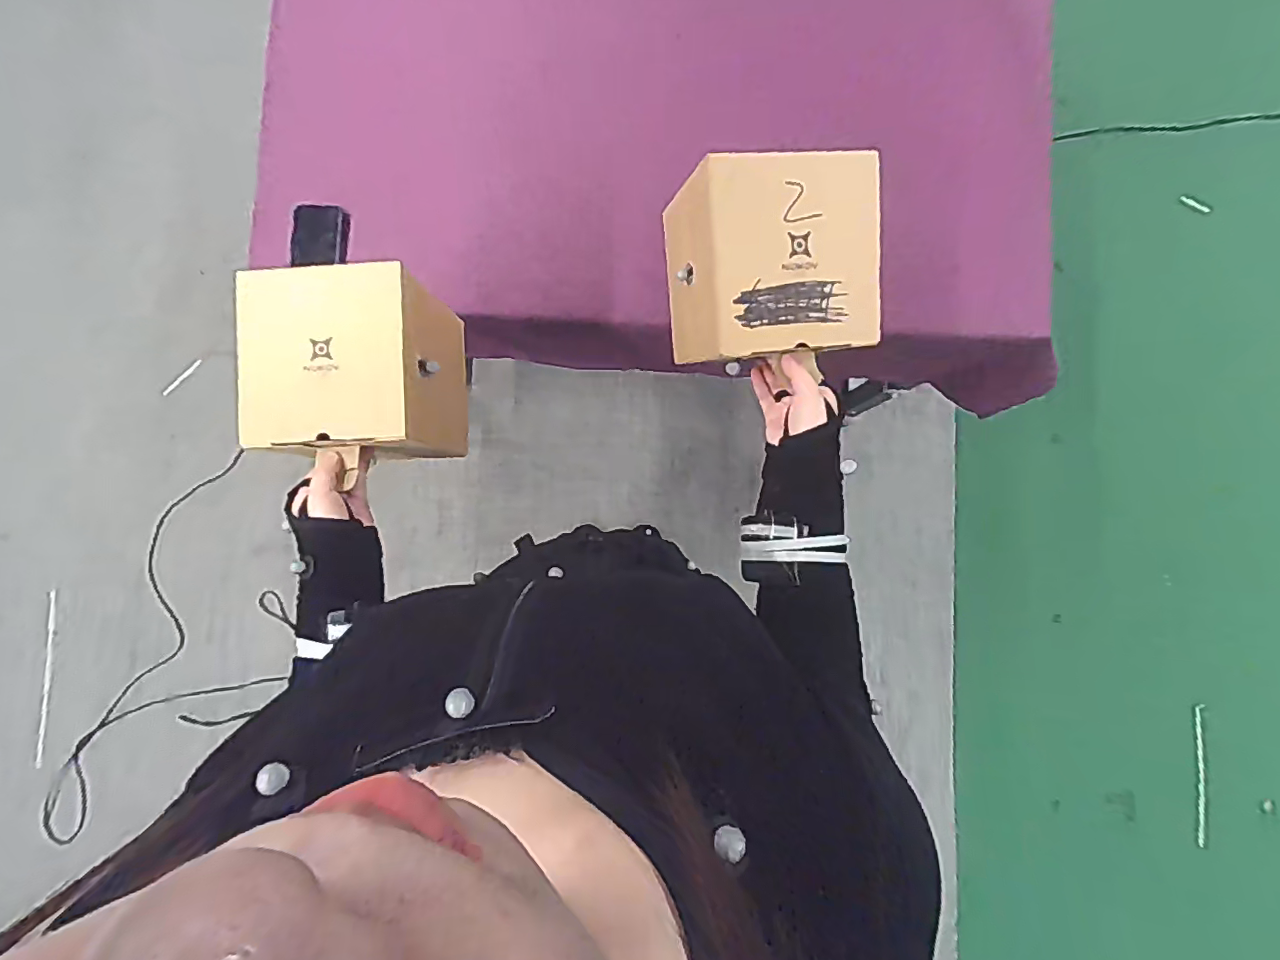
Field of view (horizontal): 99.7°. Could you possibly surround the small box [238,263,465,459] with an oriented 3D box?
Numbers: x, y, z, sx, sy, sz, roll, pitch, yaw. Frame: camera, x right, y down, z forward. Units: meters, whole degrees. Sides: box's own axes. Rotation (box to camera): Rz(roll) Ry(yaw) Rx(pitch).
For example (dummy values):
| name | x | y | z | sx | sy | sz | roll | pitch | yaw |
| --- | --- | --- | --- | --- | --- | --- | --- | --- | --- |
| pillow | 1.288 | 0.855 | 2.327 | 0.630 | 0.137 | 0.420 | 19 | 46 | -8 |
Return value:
| name | x | y | z | sx | sy | sz | roll | pitch | yaw |
| --- | --- | --- | --- | --- | --- | --- | --- | --- | --- |
| small box | -0.302 | -0.118 | 0.599 | 0.168 | 0.176 | 0.179 | -2 | 88 | 1 |
